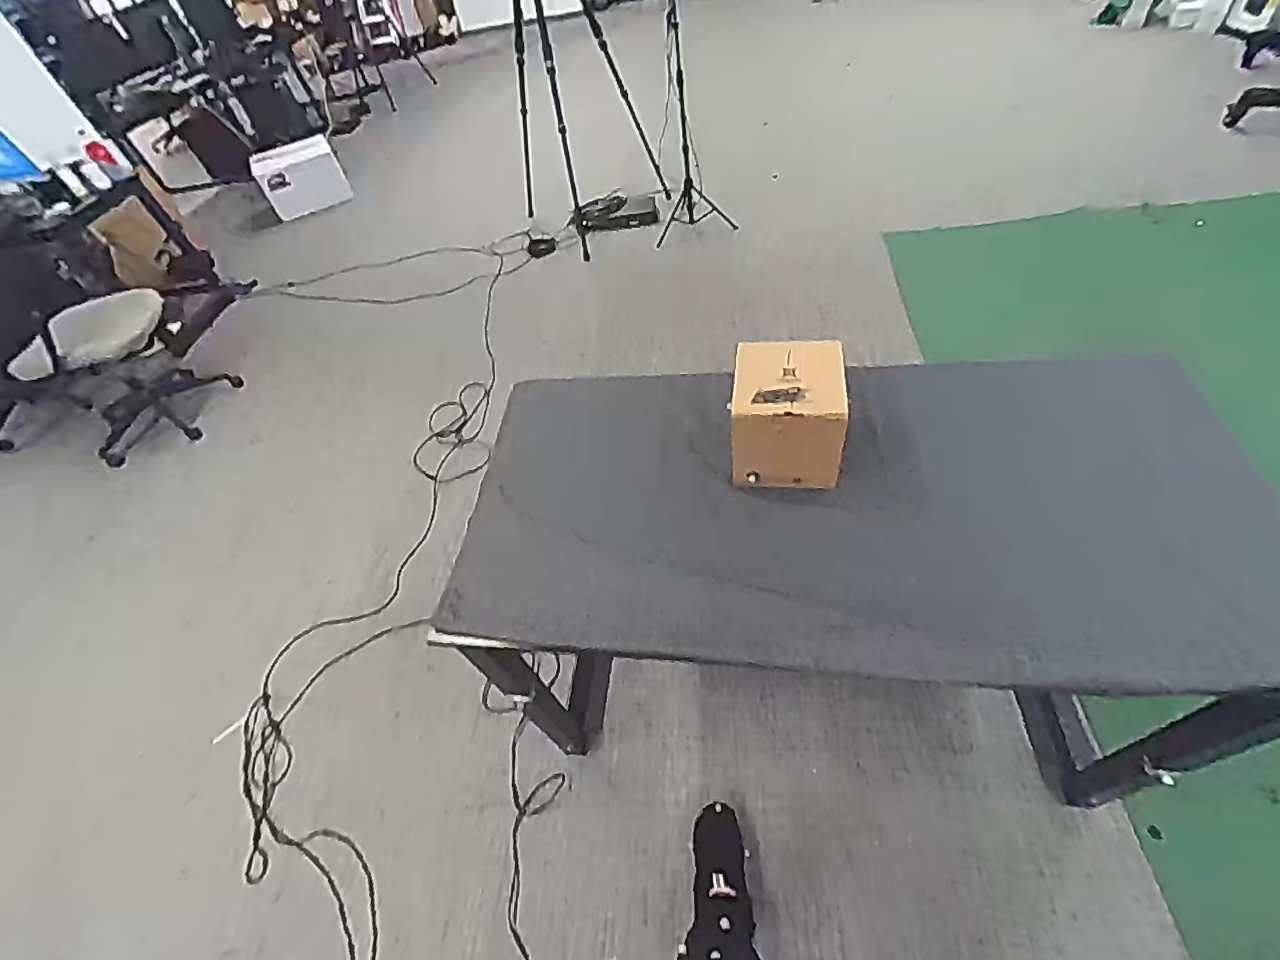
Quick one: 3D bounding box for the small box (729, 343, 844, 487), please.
[{"bbox_3d":[0.237,-0.104,0.888,0.168,0.176,0.179,2,51,13],"label":"small box"}]
